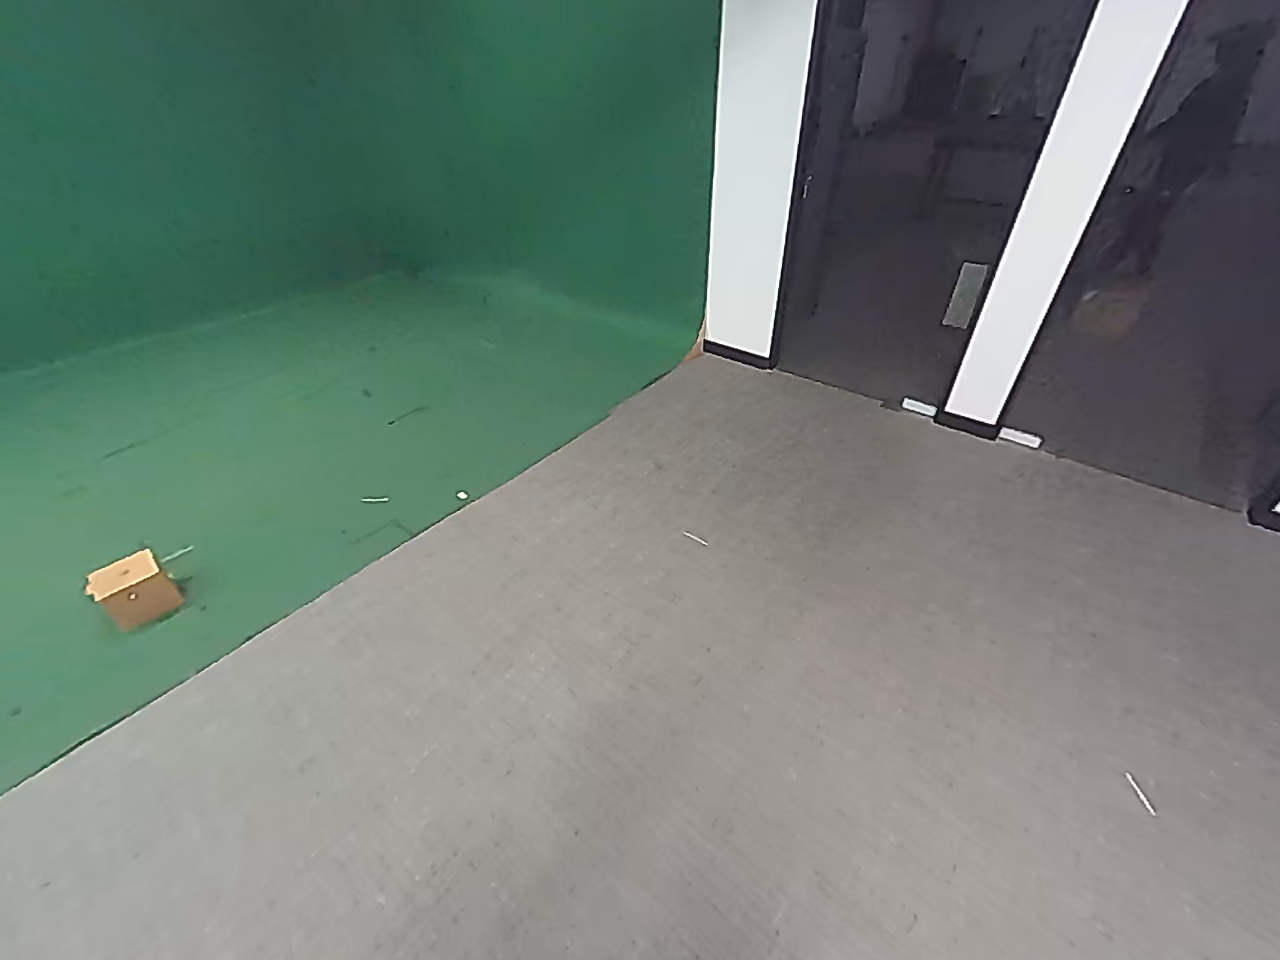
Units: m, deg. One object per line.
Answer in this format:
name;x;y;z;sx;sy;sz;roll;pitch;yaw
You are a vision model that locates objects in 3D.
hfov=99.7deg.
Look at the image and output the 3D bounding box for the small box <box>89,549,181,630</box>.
small box;-1.731;0.377;1.864;0.168;0.176;0.179;31;48;33
